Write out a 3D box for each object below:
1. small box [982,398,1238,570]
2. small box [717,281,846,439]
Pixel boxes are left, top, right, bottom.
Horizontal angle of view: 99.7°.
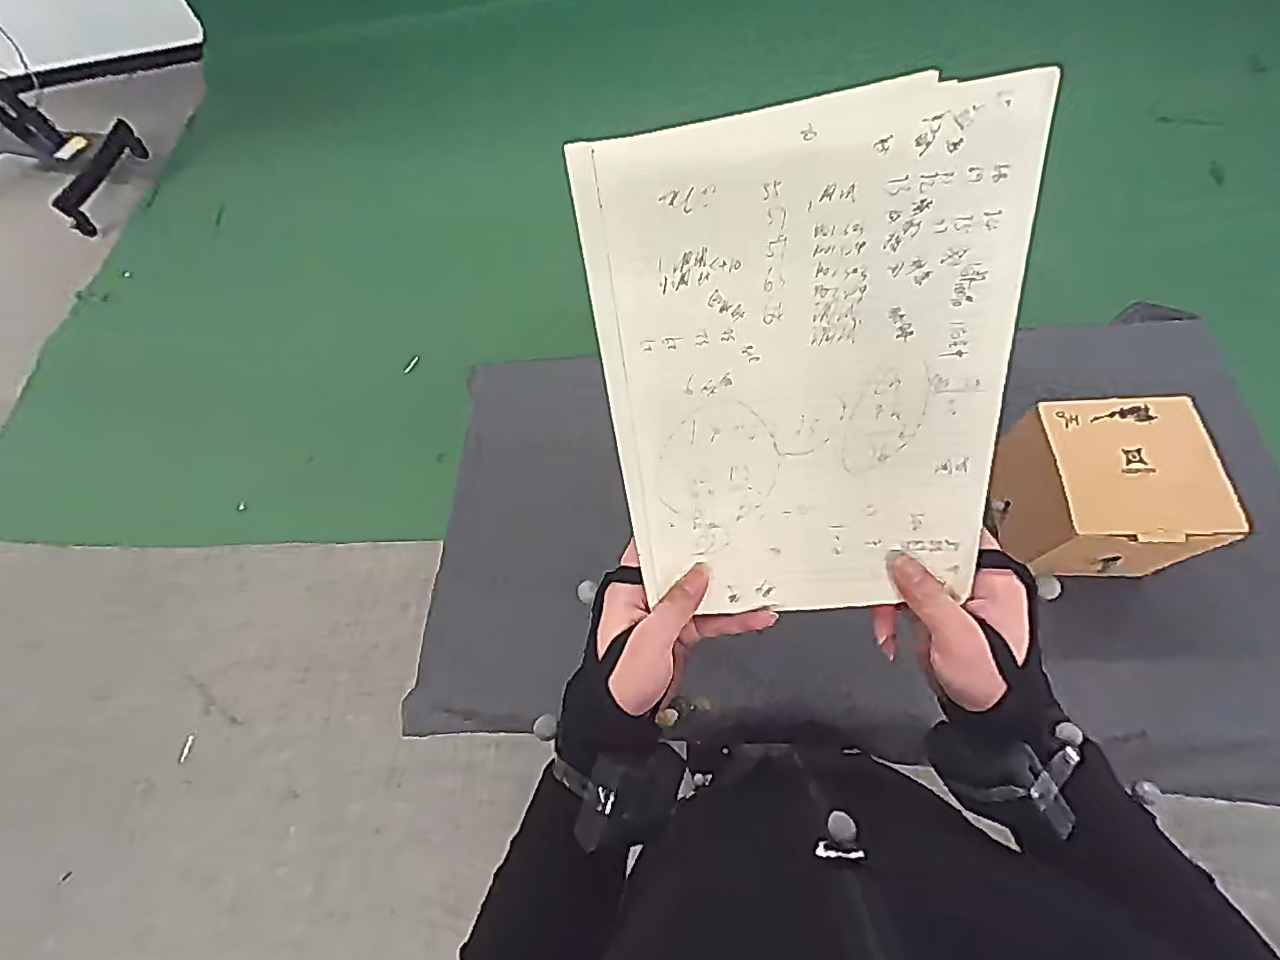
[{"bbox_3d":[0.573,0.015,0.692,0.168,0.176,0.179,-1,67,8],"label":"small box"},{"bbox_3d":[0.203,-0.170,0.819,0.168,0.176,0.179,-2,65,7],"label":"small box"}]
